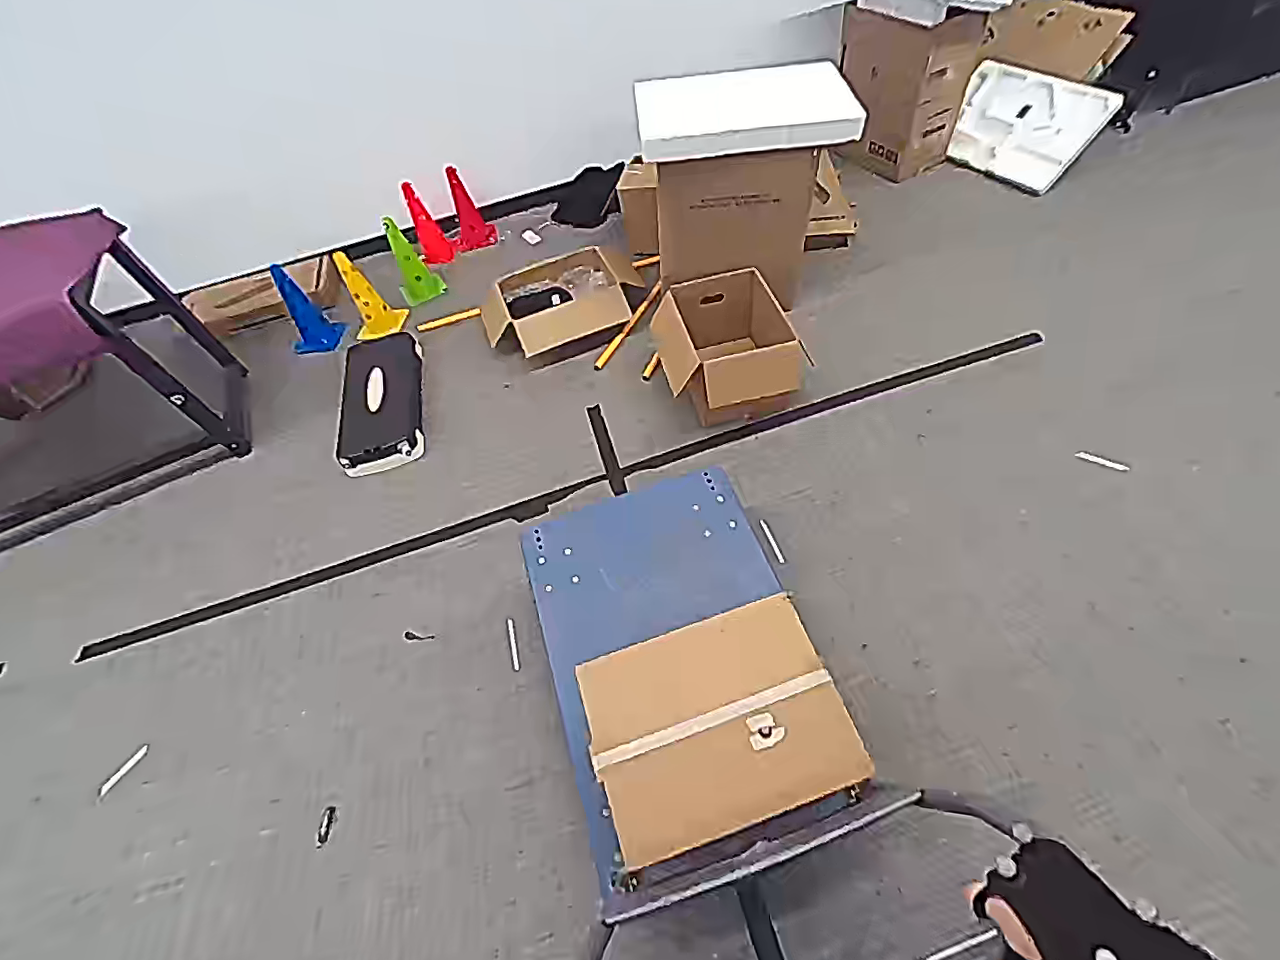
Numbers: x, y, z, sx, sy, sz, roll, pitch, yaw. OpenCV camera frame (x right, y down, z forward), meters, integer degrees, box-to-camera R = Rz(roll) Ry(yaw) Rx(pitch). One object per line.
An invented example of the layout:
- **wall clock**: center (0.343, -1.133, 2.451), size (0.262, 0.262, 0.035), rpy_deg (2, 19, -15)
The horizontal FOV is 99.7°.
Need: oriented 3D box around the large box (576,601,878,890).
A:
- **large box**: center (0.135, 0.476, 0.988), size (0.408, 0.320, 0.320), rpy_deg (-18, 60, -6)
